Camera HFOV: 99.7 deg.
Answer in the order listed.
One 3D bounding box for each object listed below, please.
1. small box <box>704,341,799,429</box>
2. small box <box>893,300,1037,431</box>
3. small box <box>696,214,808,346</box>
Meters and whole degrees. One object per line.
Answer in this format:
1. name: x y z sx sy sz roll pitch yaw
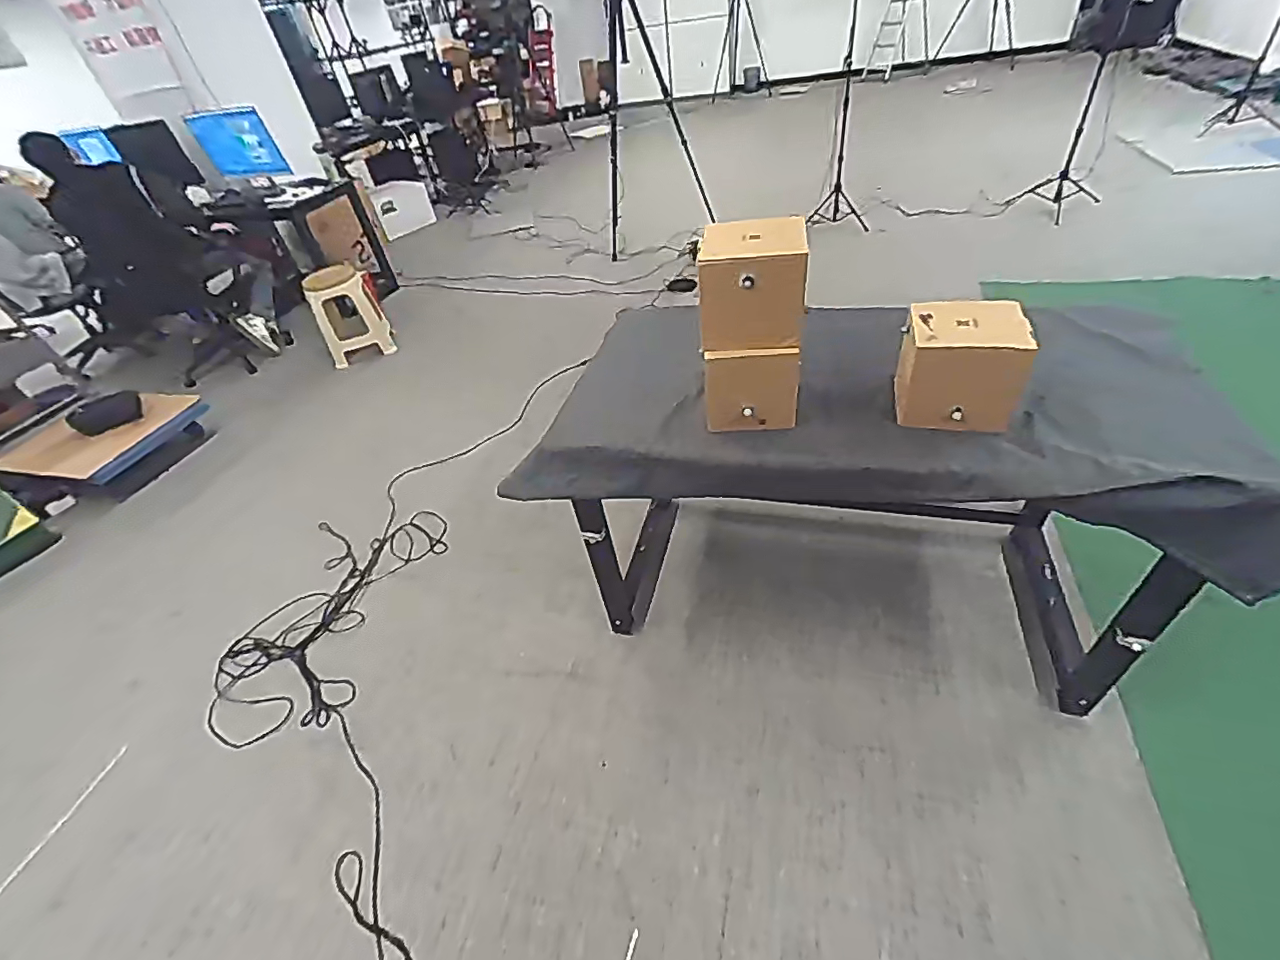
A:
1. small box: 0.211 -0.217 1.049 0.168 0.176 0.179 -2 43 10
2. small box: 0.565 -0.204 0.967 0.179 0.176 0.168 6 45 17
3. small box: 0.197 -0.346 0.951 0.179 0.176 0.168 2 45 12
